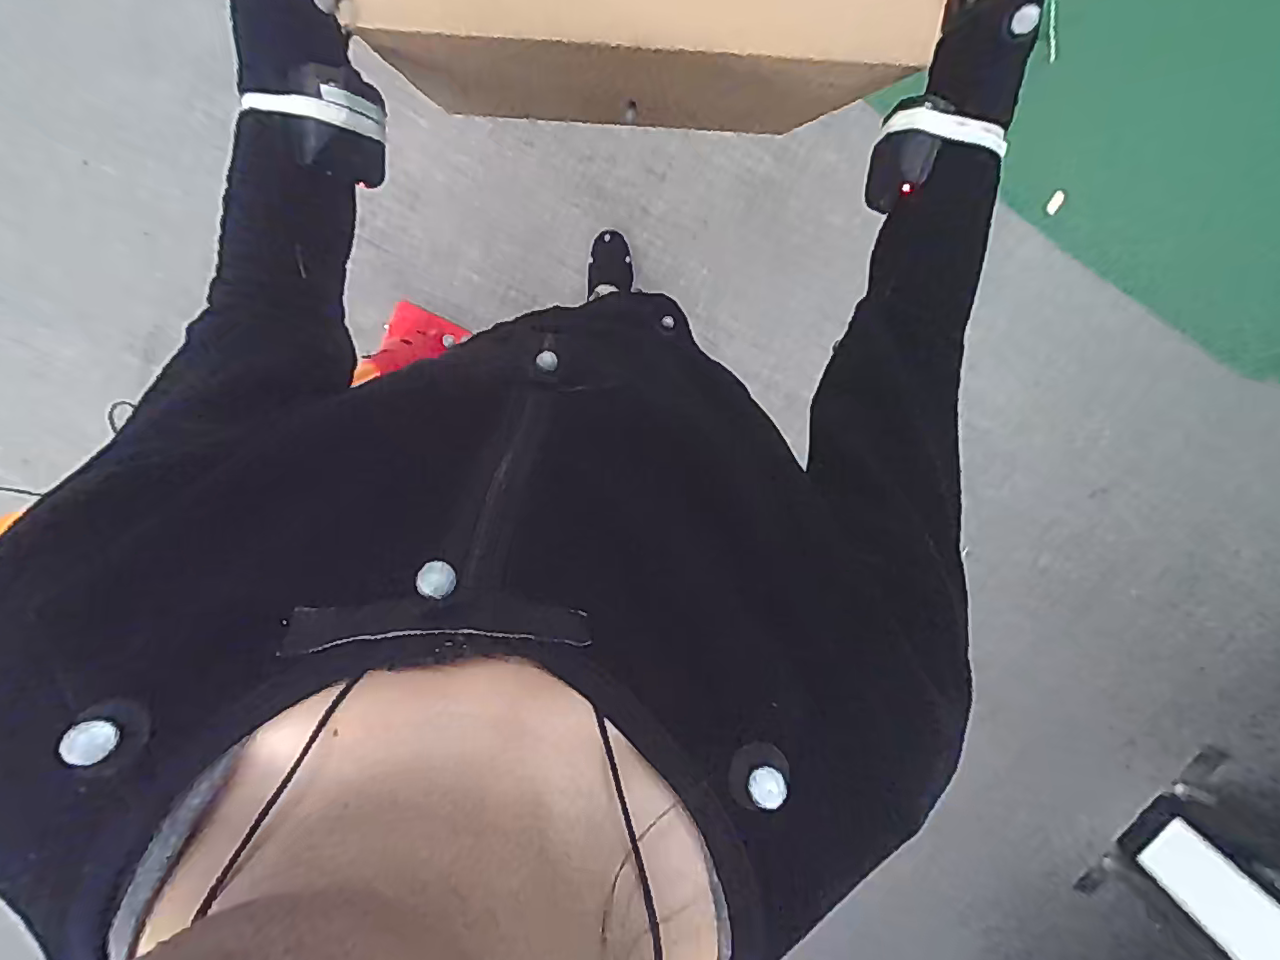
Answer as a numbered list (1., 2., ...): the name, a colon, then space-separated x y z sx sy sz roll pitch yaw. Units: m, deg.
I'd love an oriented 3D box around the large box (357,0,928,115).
1. large box: 0.000 -0.508 0.448 0.408 0.320 0.320 -1 116 -6
